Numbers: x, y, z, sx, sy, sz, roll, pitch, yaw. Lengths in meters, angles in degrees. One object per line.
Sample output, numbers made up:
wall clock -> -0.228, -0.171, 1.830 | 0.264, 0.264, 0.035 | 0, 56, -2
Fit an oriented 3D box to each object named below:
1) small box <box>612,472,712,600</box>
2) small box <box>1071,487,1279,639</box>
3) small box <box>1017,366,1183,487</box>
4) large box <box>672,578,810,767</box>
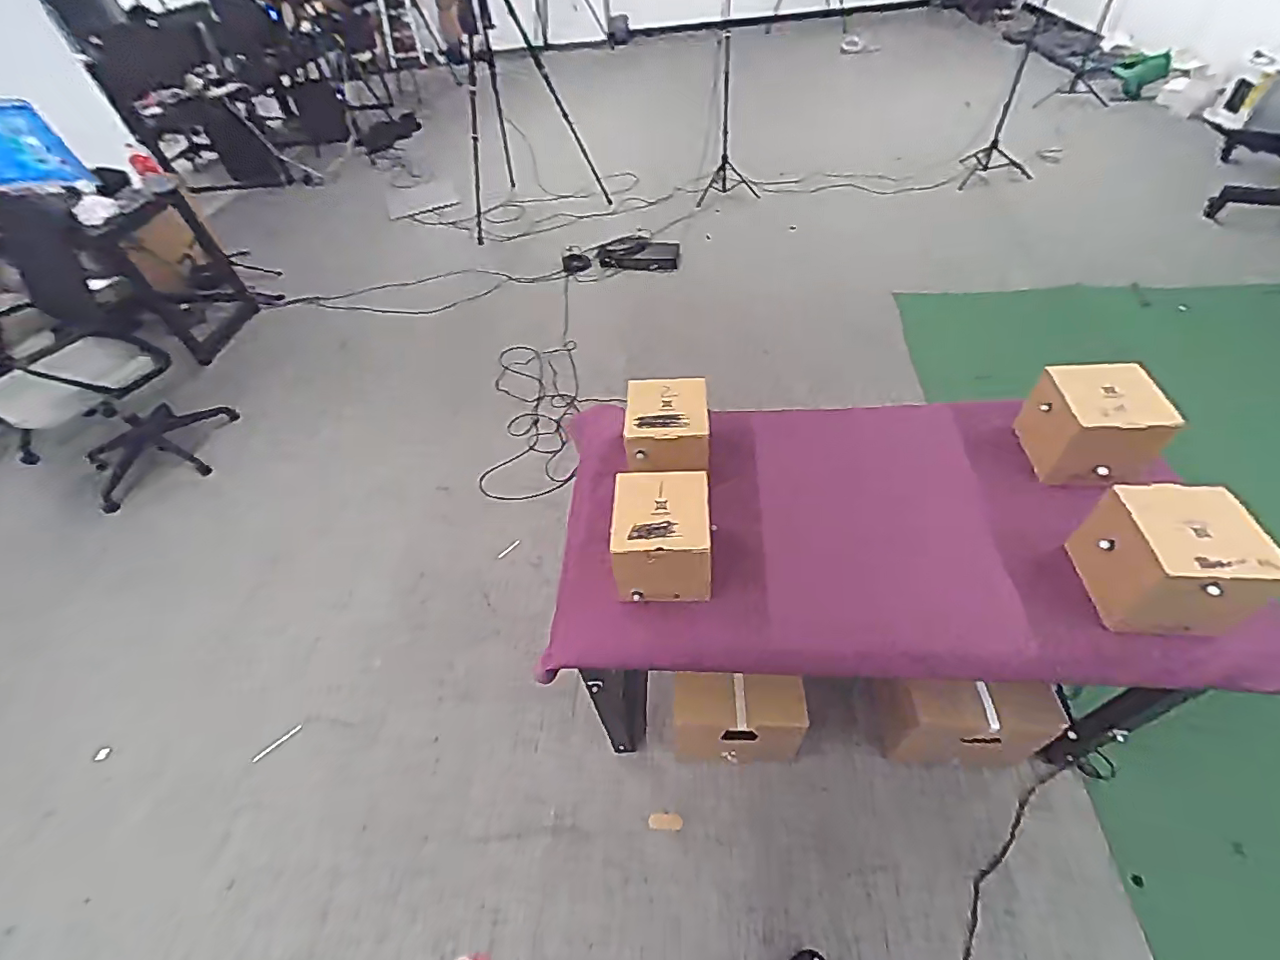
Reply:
small box -> 0.046, 0.107, 0.989 | 0.168, 0.176, 0.179 | -1, 47, 5
small box -> 0.845, 0.131, 0.866 | 0.168, 0.176, 0.179 | 0, 46, 9
small box -> 0.889, -0.105, 1.071 | 0.168, 0.176, 0.179 | -1, 49, 10
large box -> 0.255, 0.526, 1.481 | 0.320, 0.320, 0.408 | -2, 47, 5
